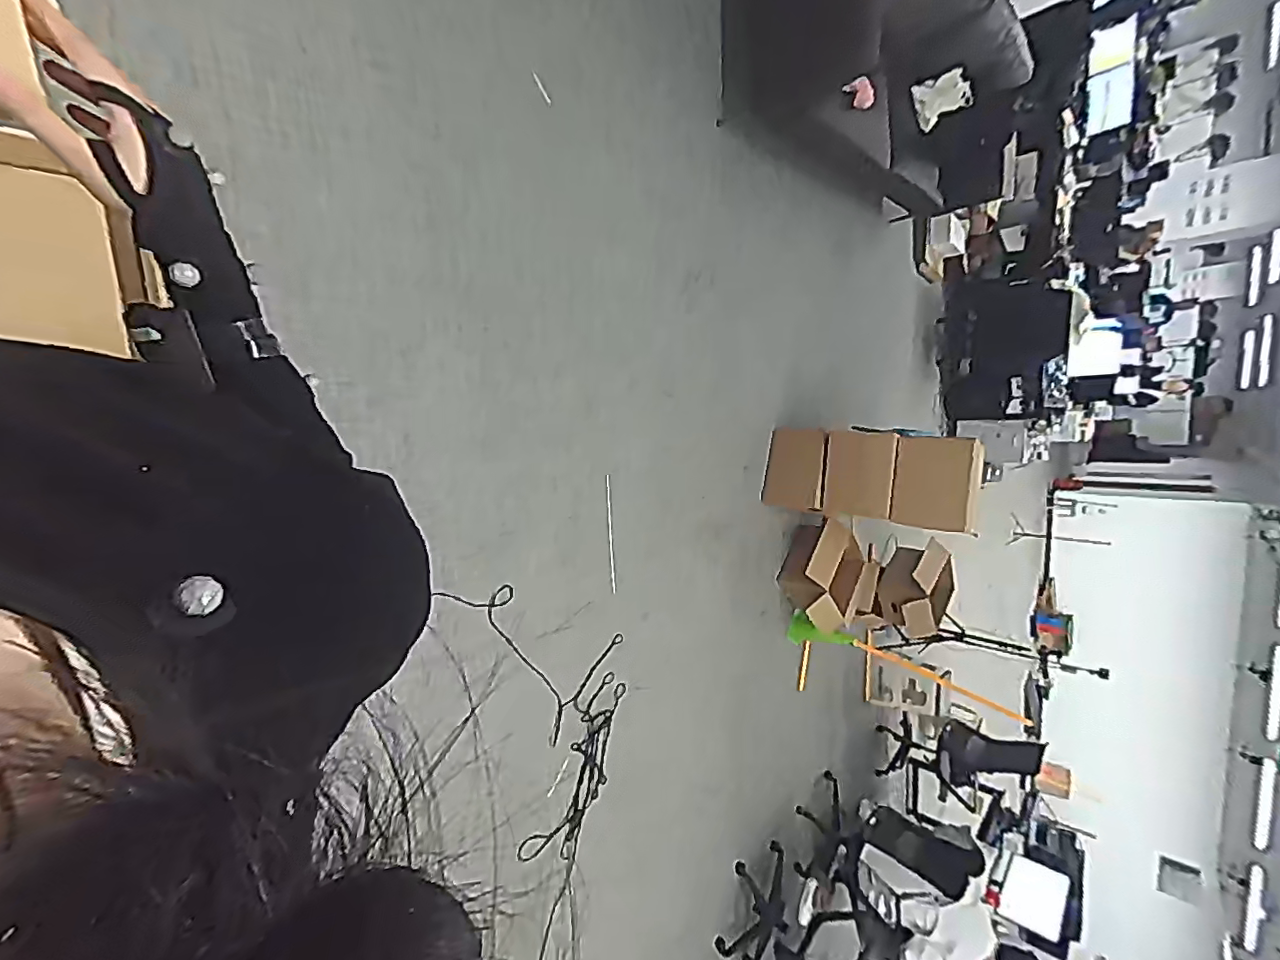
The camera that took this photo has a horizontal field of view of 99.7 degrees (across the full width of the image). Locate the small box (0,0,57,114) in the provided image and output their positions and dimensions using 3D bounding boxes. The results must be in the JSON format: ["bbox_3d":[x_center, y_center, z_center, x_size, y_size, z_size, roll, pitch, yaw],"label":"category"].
[{"bbox_3d":[-0.463,-0.313,0.290,0.179,0.176,0.168,-14,123,-40],"label":"small box"}]
